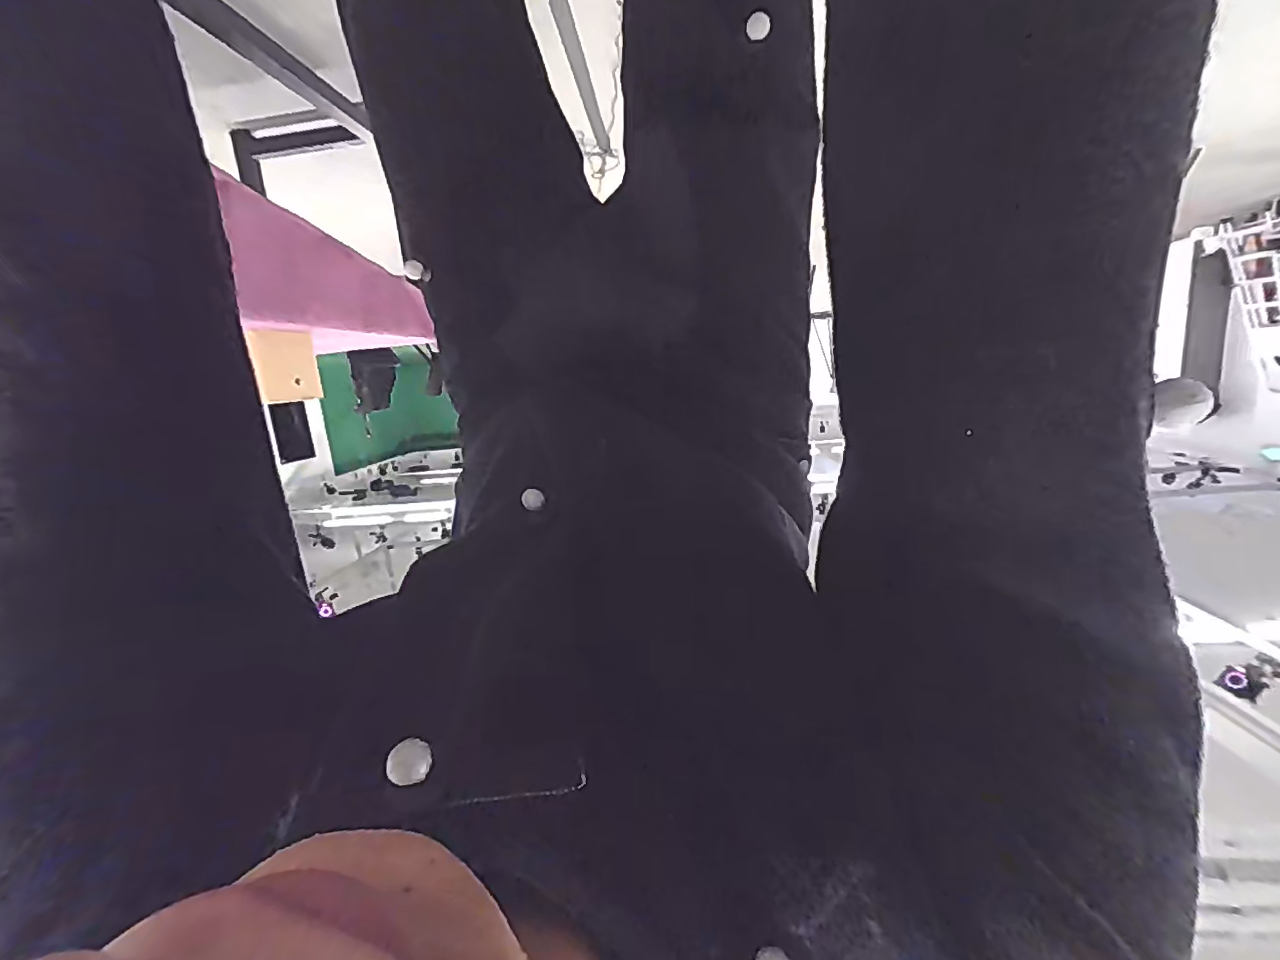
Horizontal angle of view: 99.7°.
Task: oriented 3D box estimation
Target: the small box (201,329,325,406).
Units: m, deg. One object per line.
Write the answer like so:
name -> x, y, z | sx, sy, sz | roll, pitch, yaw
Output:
small box -> -0.920, -0.278, 1.328 | 0.168, 0.176, 0.179 | -4, -169, 10
